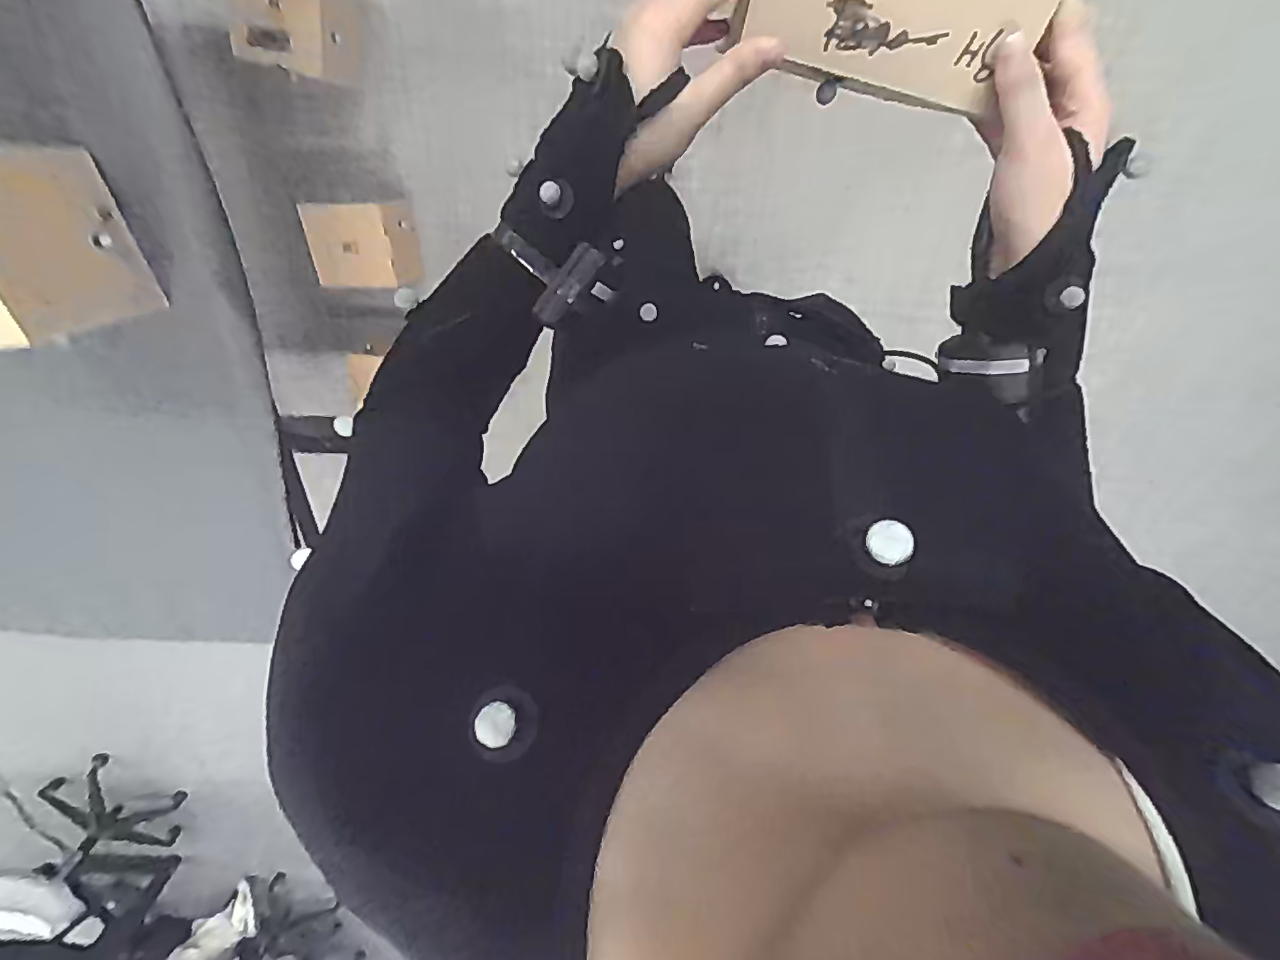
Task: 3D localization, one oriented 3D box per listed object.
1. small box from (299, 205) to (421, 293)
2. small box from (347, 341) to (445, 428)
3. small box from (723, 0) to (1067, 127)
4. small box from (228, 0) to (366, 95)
[{"bbox_3d":[-0.613,-0.522,1.215,0.179,0.176,0.168,0,119,3],"label":"small box"},{"bbox_3d":[-0.607,-0.247,1.376,0.179,0.176,0.168,6,120,-1],"label":"small box"},{"bbox_3d":[0.157,-0.345,0.328,0.168,0.176,0.179,10,128,-8],"label":"small box"},{"bbox_3d":[-0.639,-0.858,1.022,0.168,0.176,0.179,13,118,-6],"label":"small box"}]
